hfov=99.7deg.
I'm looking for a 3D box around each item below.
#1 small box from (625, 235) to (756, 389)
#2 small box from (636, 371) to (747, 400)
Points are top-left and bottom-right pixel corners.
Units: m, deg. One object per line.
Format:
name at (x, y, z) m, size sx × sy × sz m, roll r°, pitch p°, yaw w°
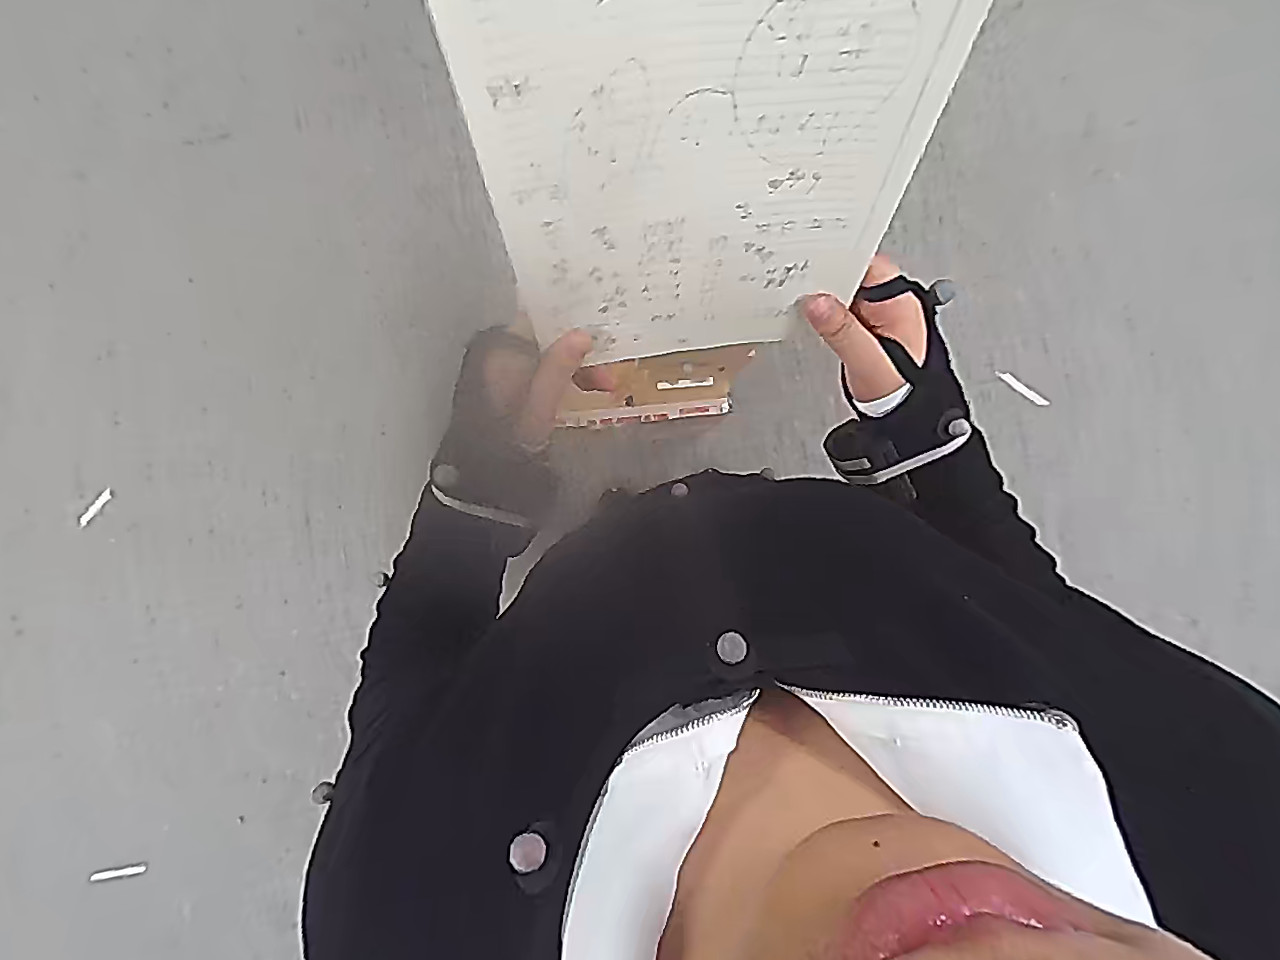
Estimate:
small box at (0.065, -0.236, 0.793) m, size 0.168 × 0.176 × 0.179 m, roll -3°, pitch 91°, yaw -2°
small box at (0.078, -0.241, 0.958) m, size 0.179 × 0.176 × 0.168 m, roll -7°, pitch 90°, yaw -2°
